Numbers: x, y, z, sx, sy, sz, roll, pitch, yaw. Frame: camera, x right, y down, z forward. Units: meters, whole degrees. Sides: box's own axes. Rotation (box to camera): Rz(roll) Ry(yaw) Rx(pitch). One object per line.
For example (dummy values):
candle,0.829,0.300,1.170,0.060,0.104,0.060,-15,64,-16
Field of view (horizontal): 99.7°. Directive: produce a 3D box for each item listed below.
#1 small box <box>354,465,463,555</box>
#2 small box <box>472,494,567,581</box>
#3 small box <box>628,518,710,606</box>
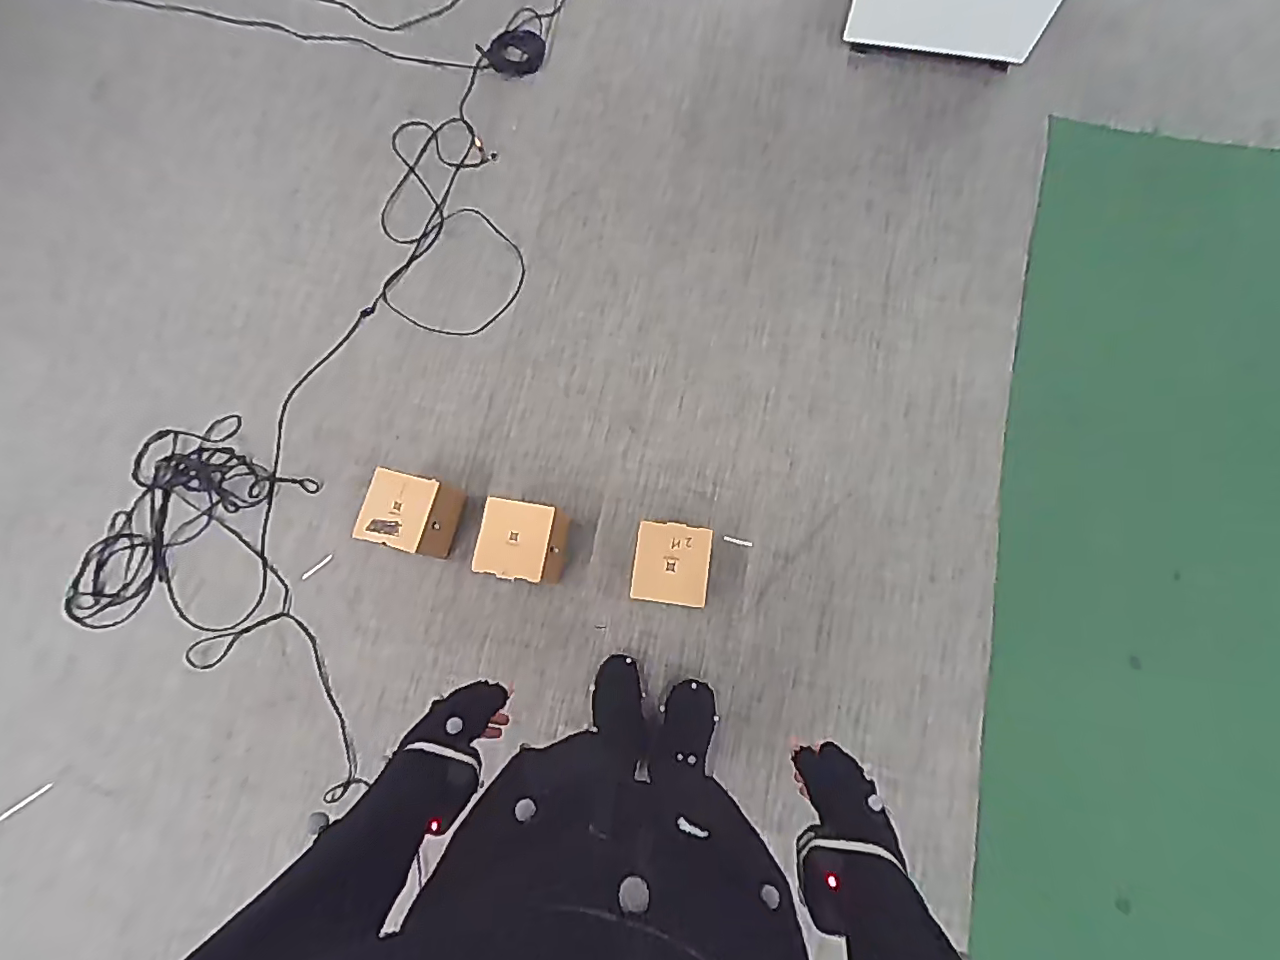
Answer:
small box,-0.565,0.081,1.347,0.168,0.176,0.179,14,78,7
small box,-0.283,0.145,1.314,0.168,0.176,0.179,9,79,6
small box,0.071,0.197,1.276,0.168,0.176,0.179,7,79,5
